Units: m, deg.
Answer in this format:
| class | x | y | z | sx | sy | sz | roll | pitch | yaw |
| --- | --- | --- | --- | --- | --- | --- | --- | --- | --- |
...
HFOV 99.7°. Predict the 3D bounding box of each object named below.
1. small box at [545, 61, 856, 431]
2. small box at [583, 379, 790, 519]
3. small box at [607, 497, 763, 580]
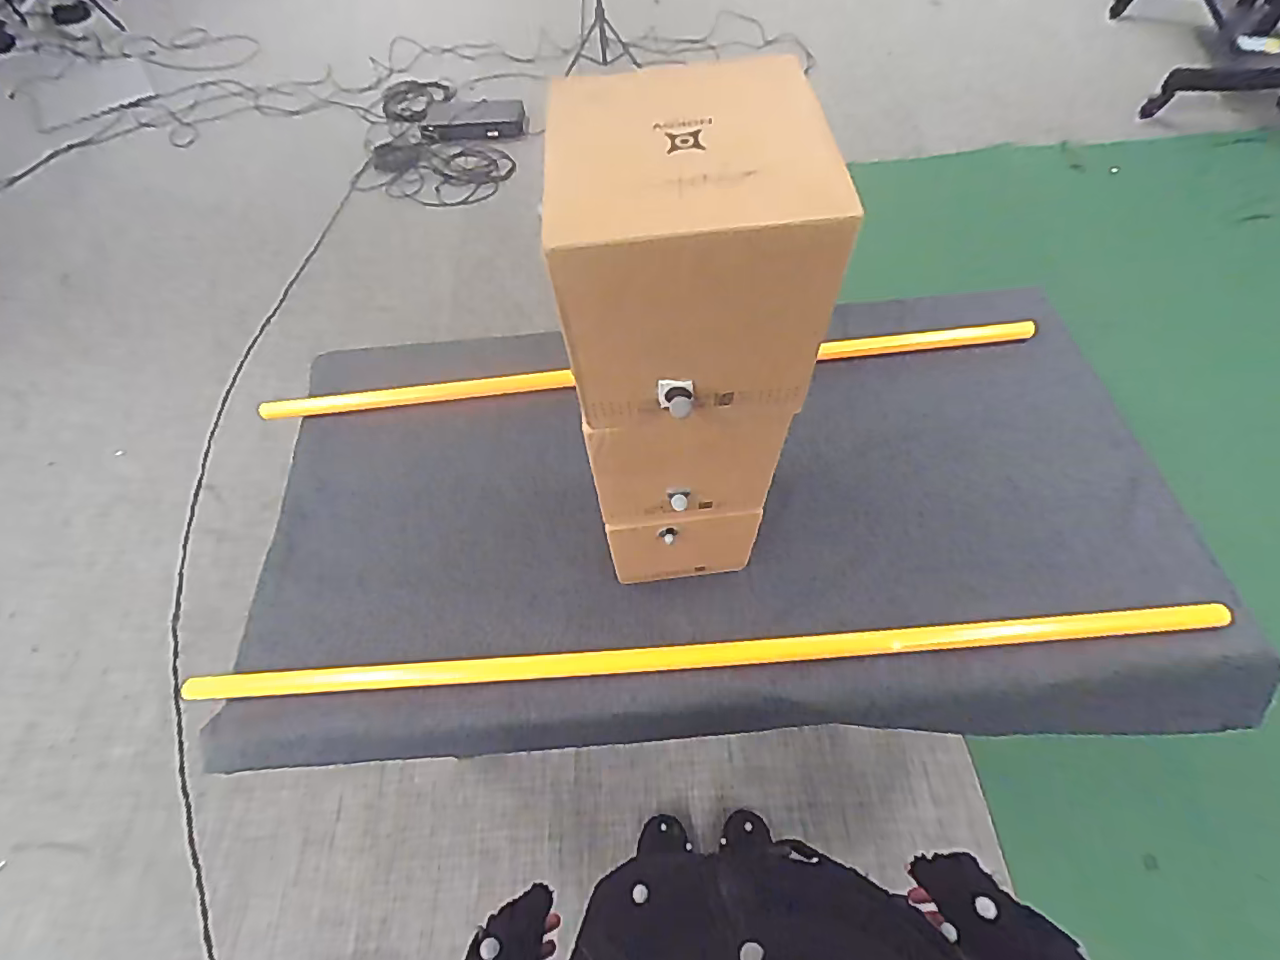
| class | x | y | z | sx | sy | sz | roll | pitch | yaw |
| --- | --- | --- | --- | --- | --- | --- | --- | --- | --- |
| small box | 0.031 | -0.158 | 0.391 | 0.168 | 0.176 | 0.179 | -6 | 61 | 2 |
| small box | 0.035 | -0.079 | 0.532 | 0.168 | 0.176 | 0.179 | -6 | 60 | 1 |
| small box | 0.044 | 0.006 | 0.672 | 0.168 | 0.176 | 0.179 | -7 | 59 | 1 |
